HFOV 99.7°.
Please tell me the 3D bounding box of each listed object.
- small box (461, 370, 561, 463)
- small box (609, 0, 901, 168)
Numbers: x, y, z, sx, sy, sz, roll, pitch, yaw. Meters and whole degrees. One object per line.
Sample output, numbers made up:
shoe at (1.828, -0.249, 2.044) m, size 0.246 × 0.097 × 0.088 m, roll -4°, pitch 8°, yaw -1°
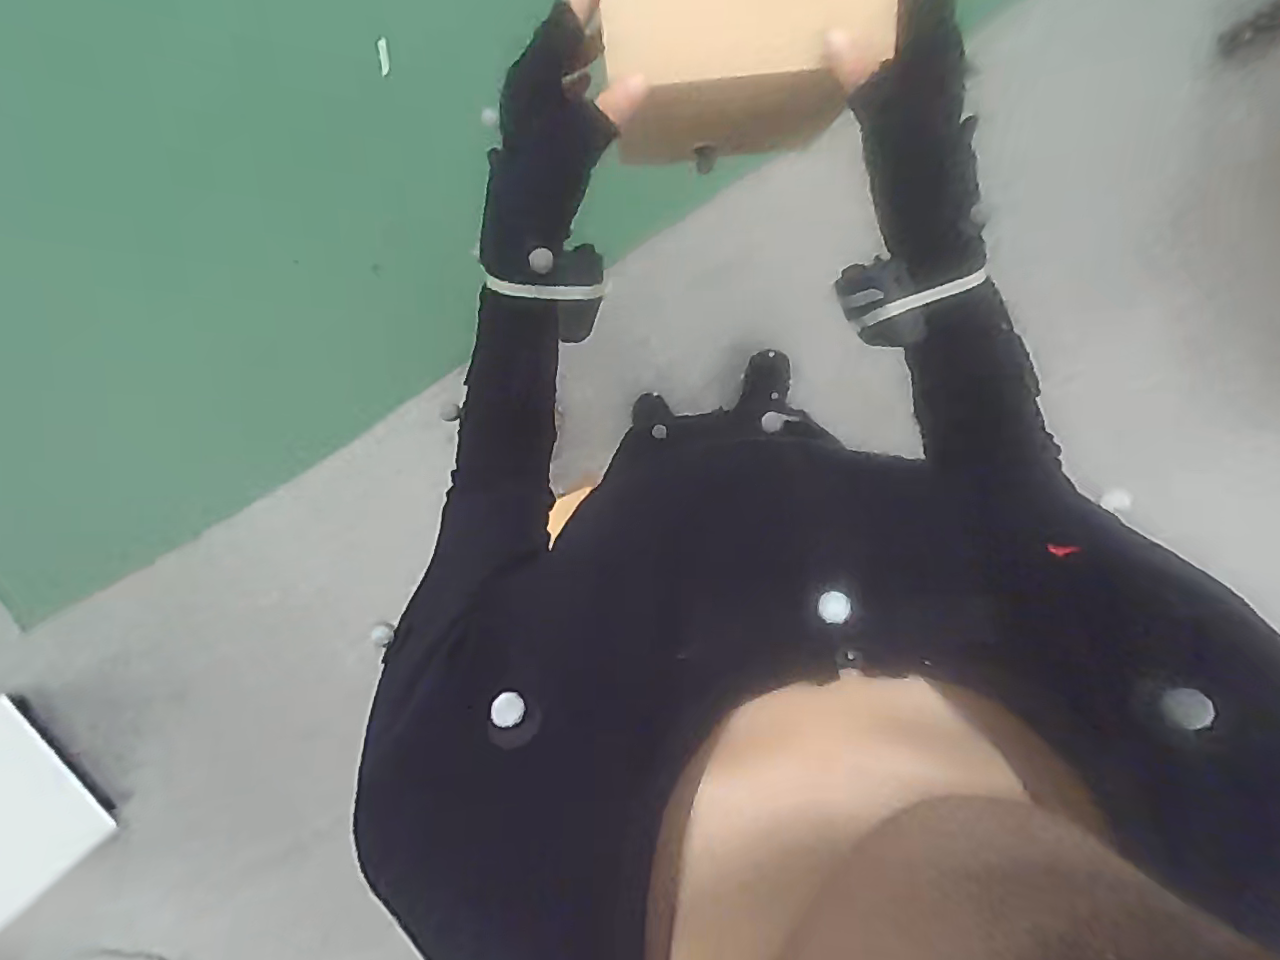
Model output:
small box at (-0.314, -0.166, 1.369) m, size 0.179 × 0.176 × 0.168 m, roll -30°, pitch 99°, yaw 6°
small box at (0.061, -0.337, 0.367) m, size 0.168 × 0.176 × 0.179 m, roll -4°, pitch 106°, yaw 2°
